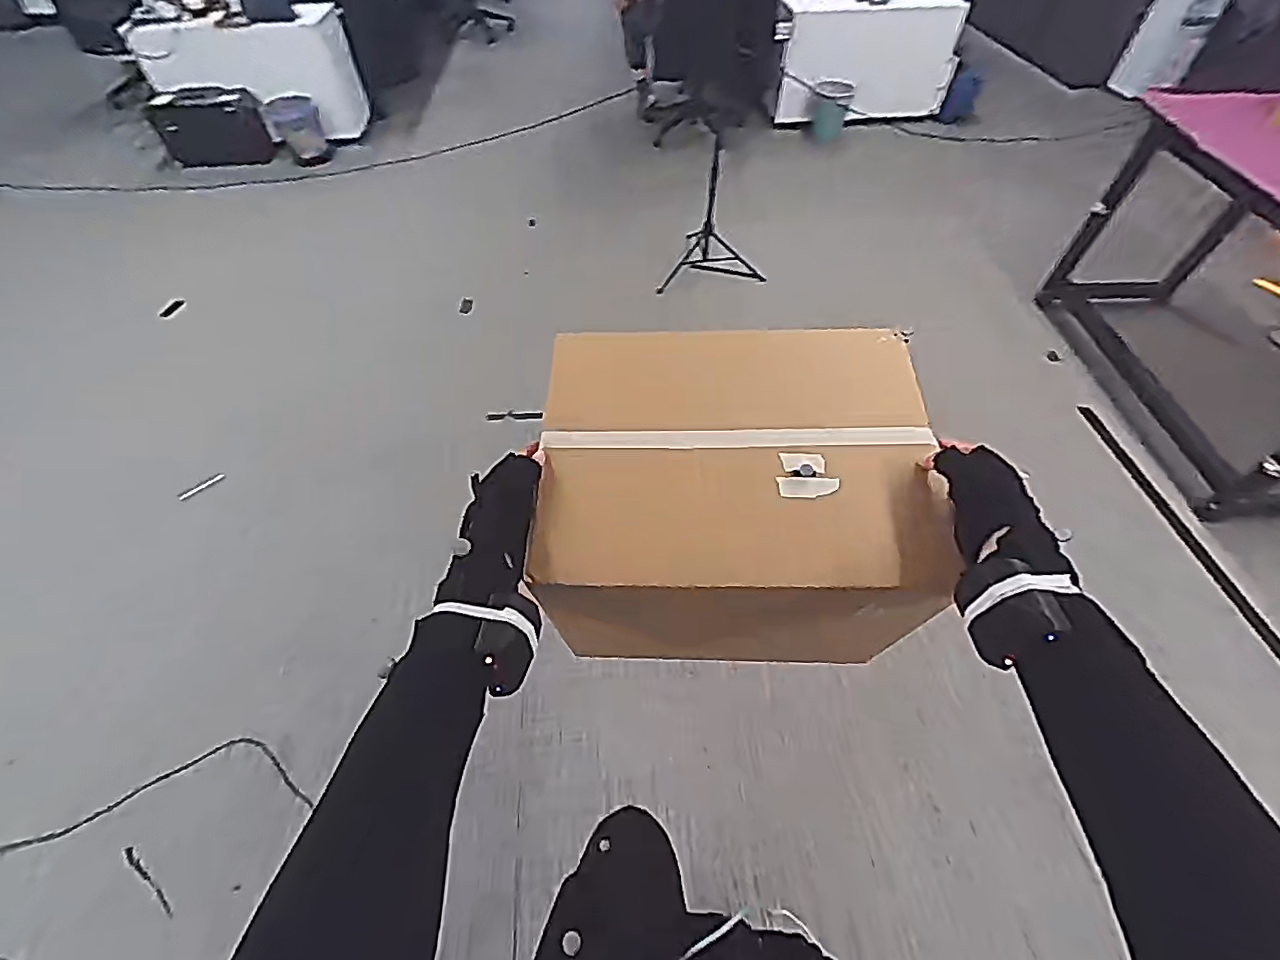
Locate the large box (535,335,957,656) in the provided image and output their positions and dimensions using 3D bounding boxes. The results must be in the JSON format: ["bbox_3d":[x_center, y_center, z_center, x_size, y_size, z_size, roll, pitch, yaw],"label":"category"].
[{"bbox_3d":[0.102,0.037,0.706,0.408,0.320,0.320,0,60,3],"label":"large box"}]
